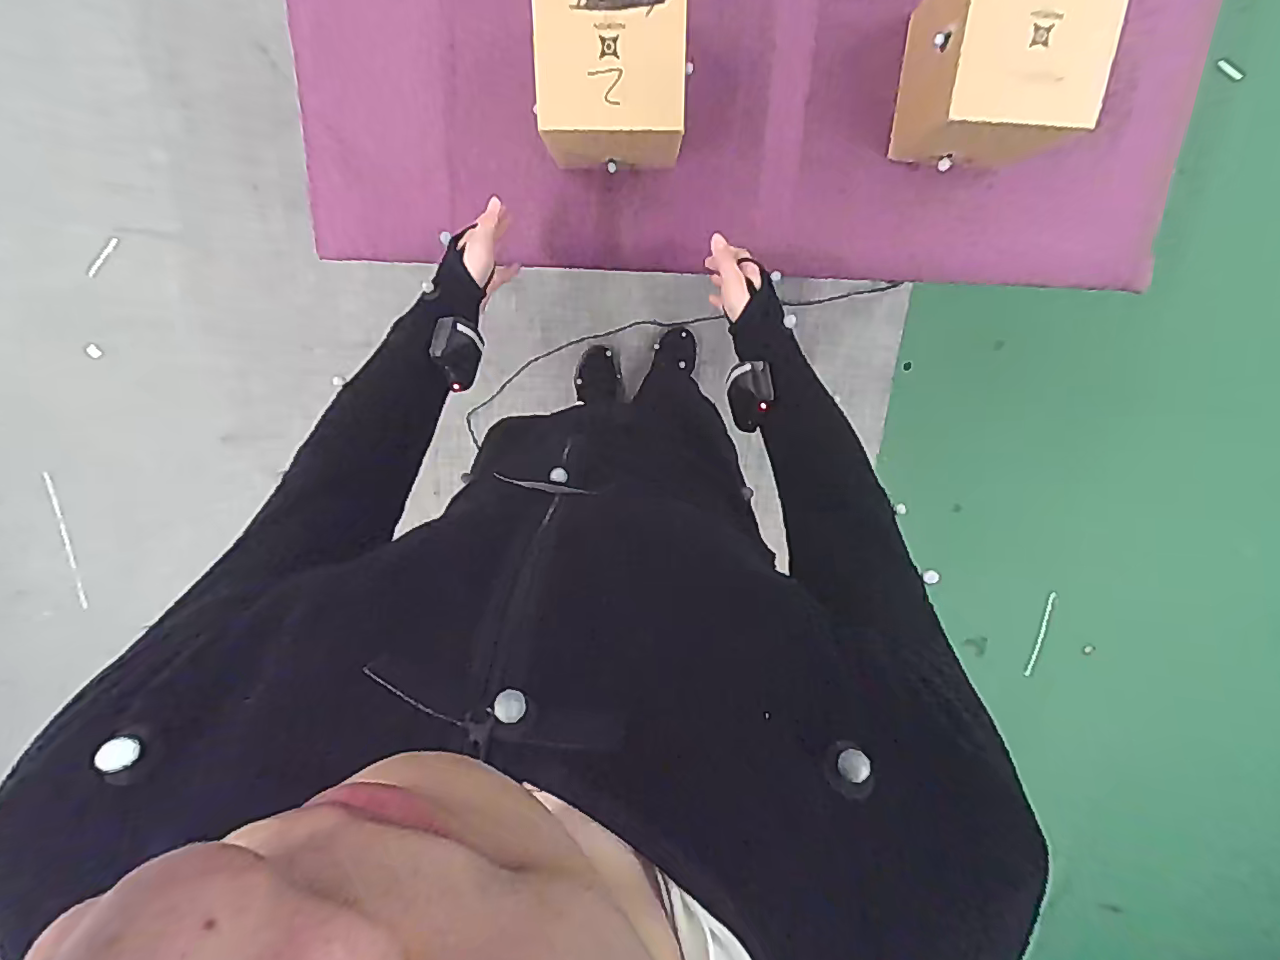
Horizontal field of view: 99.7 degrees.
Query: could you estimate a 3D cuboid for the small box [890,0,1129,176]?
[{"bbox_3d":[0.426,-0.491,0.650,0.168,0.176,0.179,5,106,0],"label":"small box"}]
